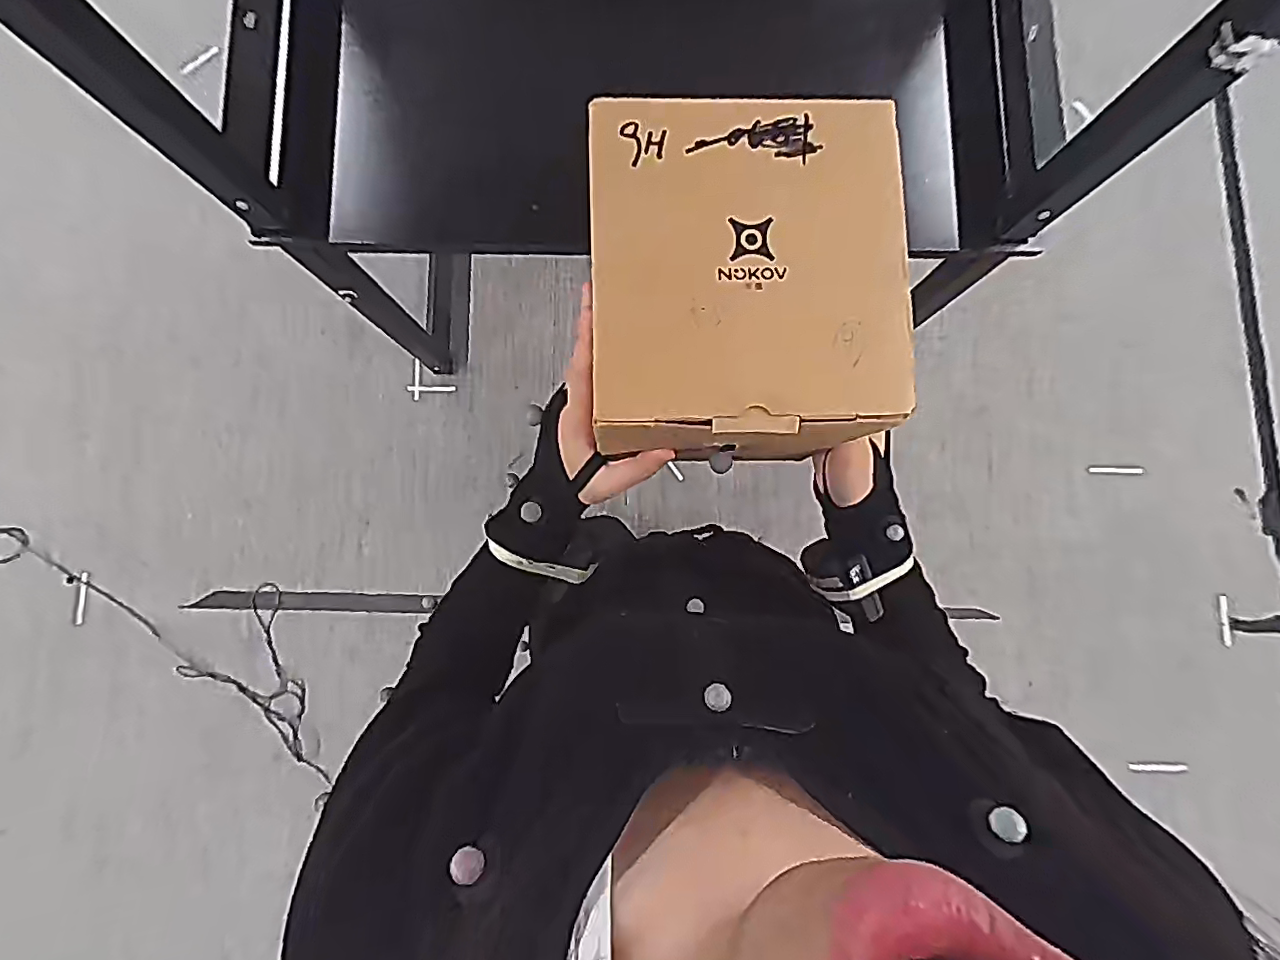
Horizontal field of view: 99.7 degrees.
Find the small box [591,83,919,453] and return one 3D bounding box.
[{"bbox_3d":[0.054,-0.109,0.350,0.168,0.176,0.179,-1,87,-4],"label":"small box"}]
